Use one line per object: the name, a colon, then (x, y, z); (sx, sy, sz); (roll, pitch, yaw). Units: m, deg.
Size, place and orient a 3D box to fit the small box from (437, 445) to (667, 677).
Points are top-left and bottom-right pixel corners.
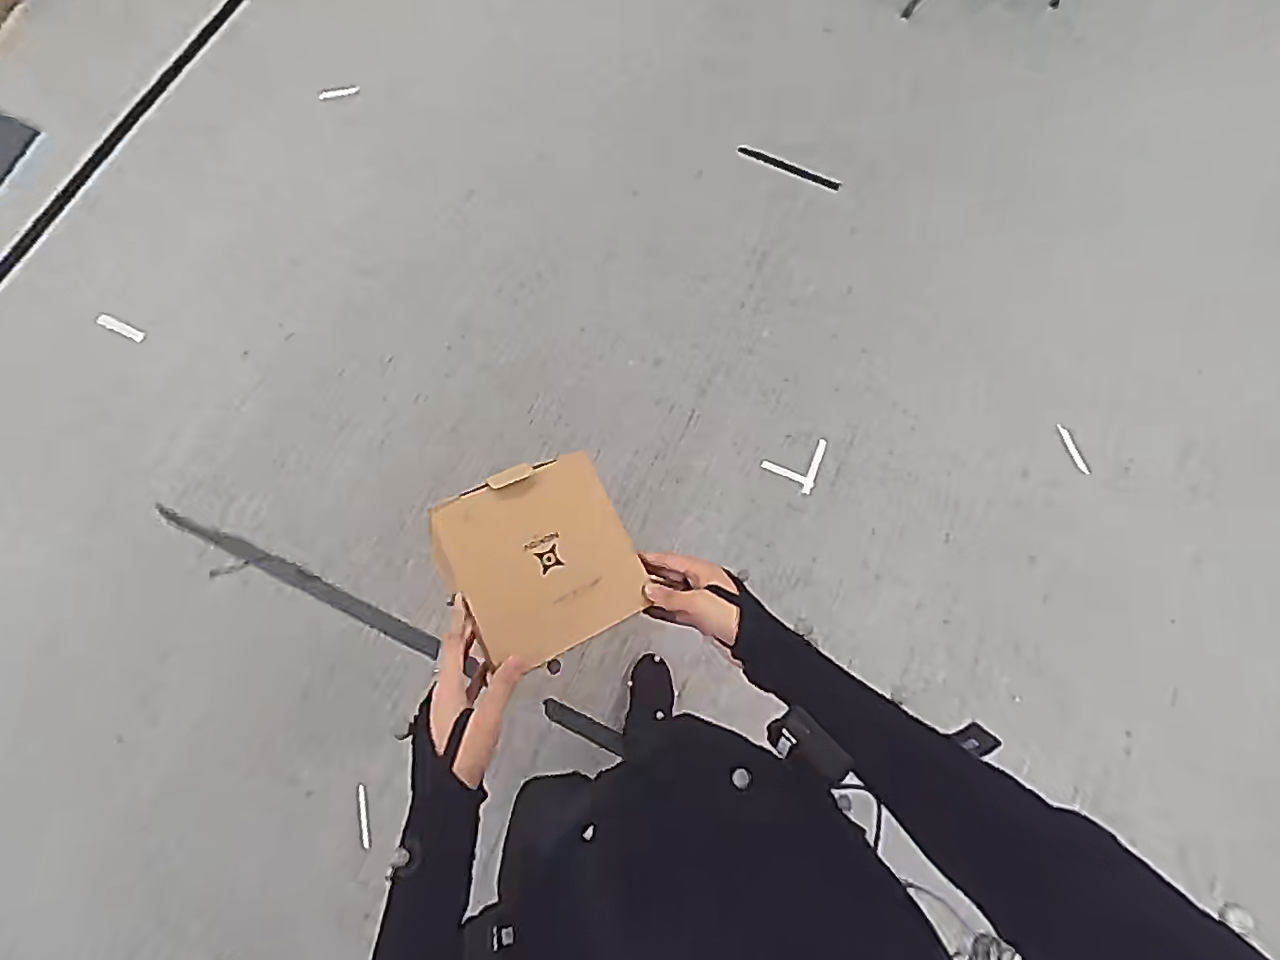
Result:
small box: (-0.104, 0.092, 0.569); (0.168, 0.176, 0.179); (-22, 79, -25)
